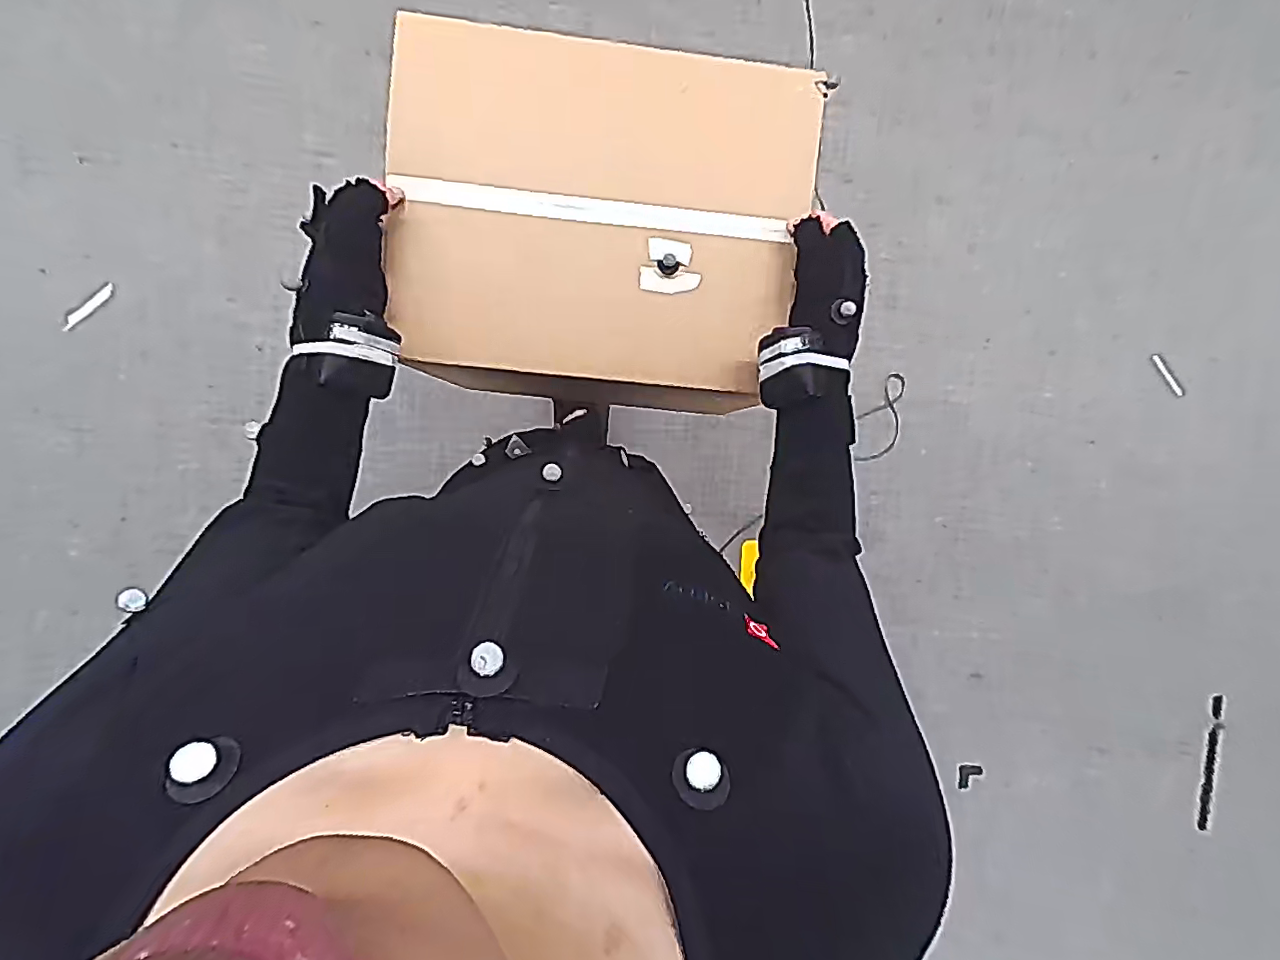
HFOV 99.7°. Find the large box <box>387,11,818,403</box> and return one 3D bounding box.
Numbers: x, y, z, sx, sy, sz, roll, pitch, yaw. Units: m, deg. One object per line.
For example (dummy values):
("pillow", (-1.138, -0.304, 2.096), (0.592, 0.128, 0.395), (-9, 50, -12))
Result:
("large box", (-0.046, -0.276, 0.667), (0.408, 0.320, 0.320), (5, 94, -5))
